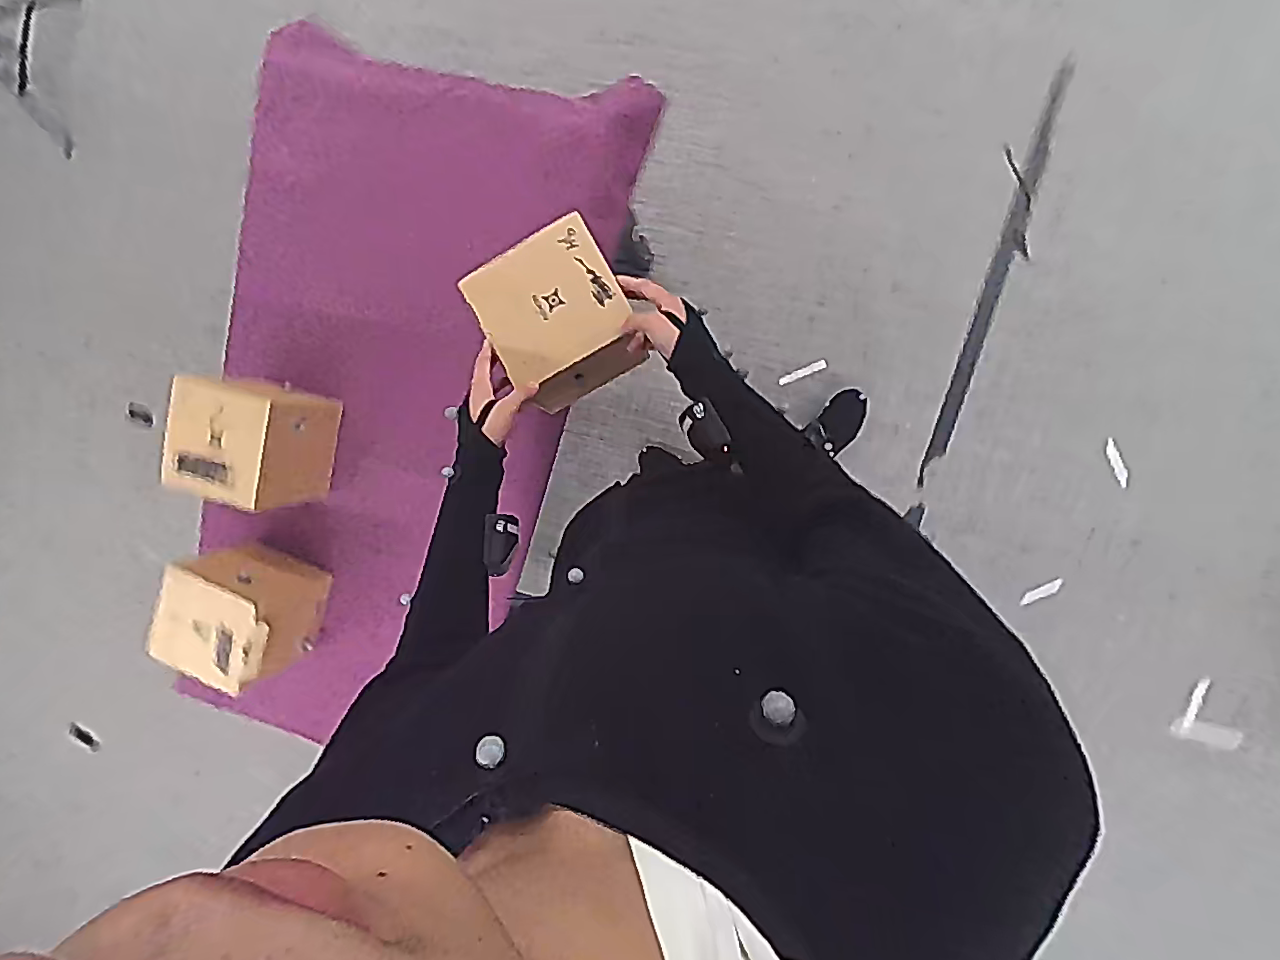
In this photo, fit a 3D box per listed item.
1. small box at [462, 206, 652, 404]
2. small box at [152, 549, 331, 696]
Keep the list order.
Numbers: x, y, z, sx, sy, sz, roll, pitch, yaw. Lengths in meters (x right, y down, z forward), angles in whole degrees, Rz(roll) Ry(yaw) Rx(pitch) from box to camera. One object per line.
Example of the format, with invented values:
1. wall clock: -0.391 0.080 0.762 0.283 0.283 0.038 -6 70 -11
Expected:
1. small box: -0.098 -0.217 0.726 0.179 0.176 0.168 -28 88 5
2. small box: -0.683 0.235 0.944 0.179 0.176 0.168 20 99 6
